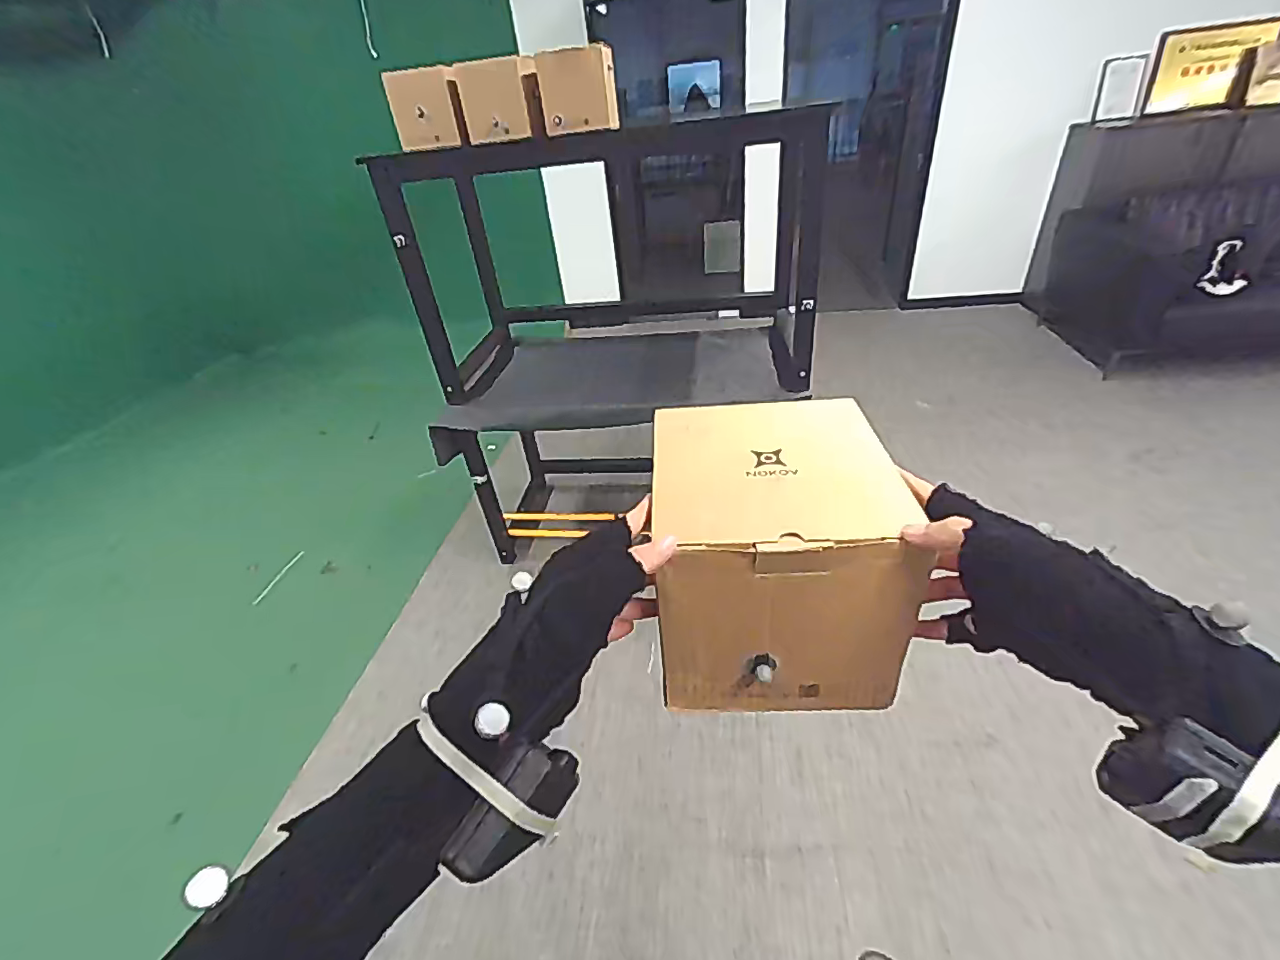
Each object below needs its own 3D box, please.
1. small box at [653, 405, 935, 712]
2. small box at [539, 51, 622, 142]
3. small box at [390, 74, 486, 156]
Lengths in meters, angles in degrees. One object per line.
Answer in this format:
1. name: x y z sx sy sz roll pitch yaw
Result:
1. small box: 0.098 0.056 0.428 0.168 0.176 0.179 -3 34 5
2. small box: -0.142 -0.970 1.377 0.168 0.176 0.179 -2 34 8
3. small box: -0.532 -0.978 1.457 0.168 0.176 0.179 0 35 8
